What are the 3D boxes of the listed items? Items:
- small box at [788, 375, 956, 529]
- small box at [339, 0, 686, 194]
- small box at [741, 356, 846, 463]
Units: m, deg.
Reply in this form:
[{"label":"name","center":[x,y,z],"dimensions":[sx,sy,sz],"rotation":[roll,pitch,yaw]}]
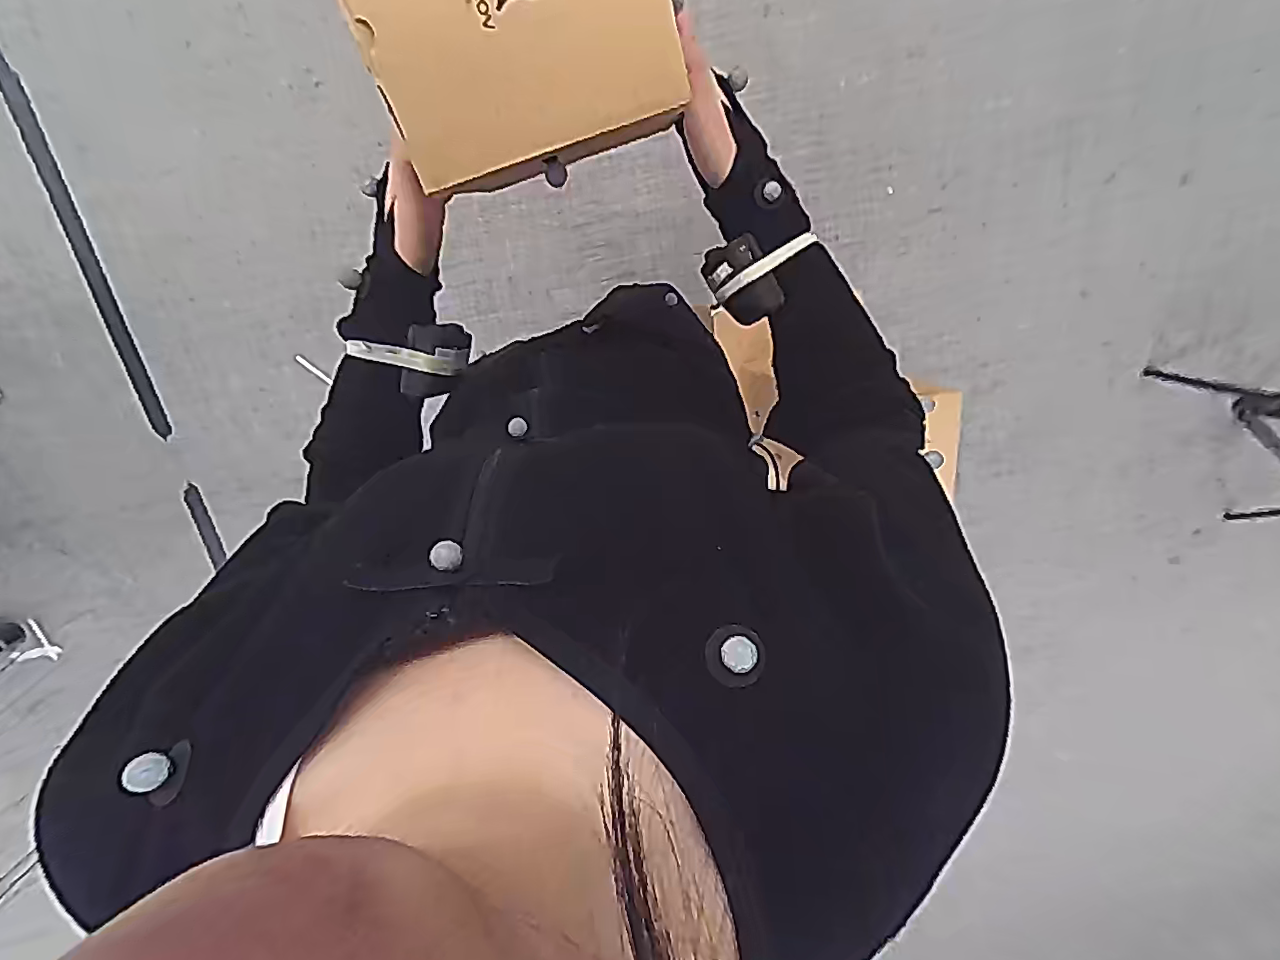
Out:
[{"label":"small box","center":[0.317,-0.047,0.776],"dimensions":[0.168,0.176,0.179],"rotation":[-5,109,0]},{"label":"small box","center":[-0.078,-0.312,0.363],"dimensions":[0.179,0.176,0.168],"rotation":[-15,119,9]},{"label":"small box","center":[0.304,-0.150,1.088],"dimensions":[0.168,0.176,0.179],"rotation":[-9,110,2]}]
